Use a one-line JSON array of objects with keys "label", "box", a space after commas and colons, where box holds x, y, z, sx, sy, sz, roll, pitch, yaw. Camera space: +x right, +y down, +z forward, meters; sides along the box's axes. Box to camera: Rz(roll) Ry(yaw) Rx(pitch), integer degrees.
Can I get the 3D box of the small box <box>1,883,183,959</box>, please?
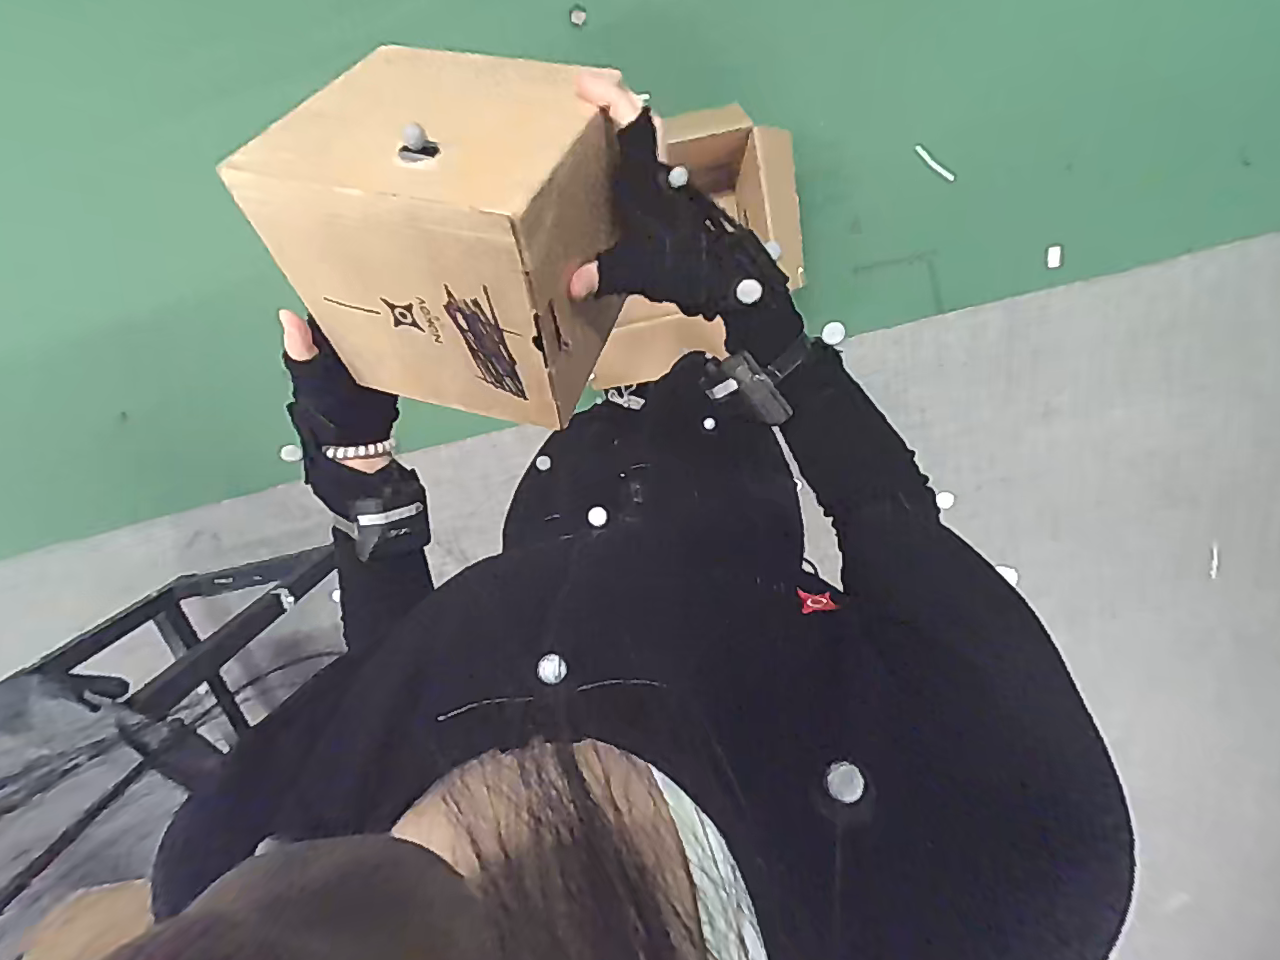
[{"label": "small box", "box": [-0.980, 0.858, 0.954, 0.179, 0.176, 0.168, -12, 109, 5]}]
